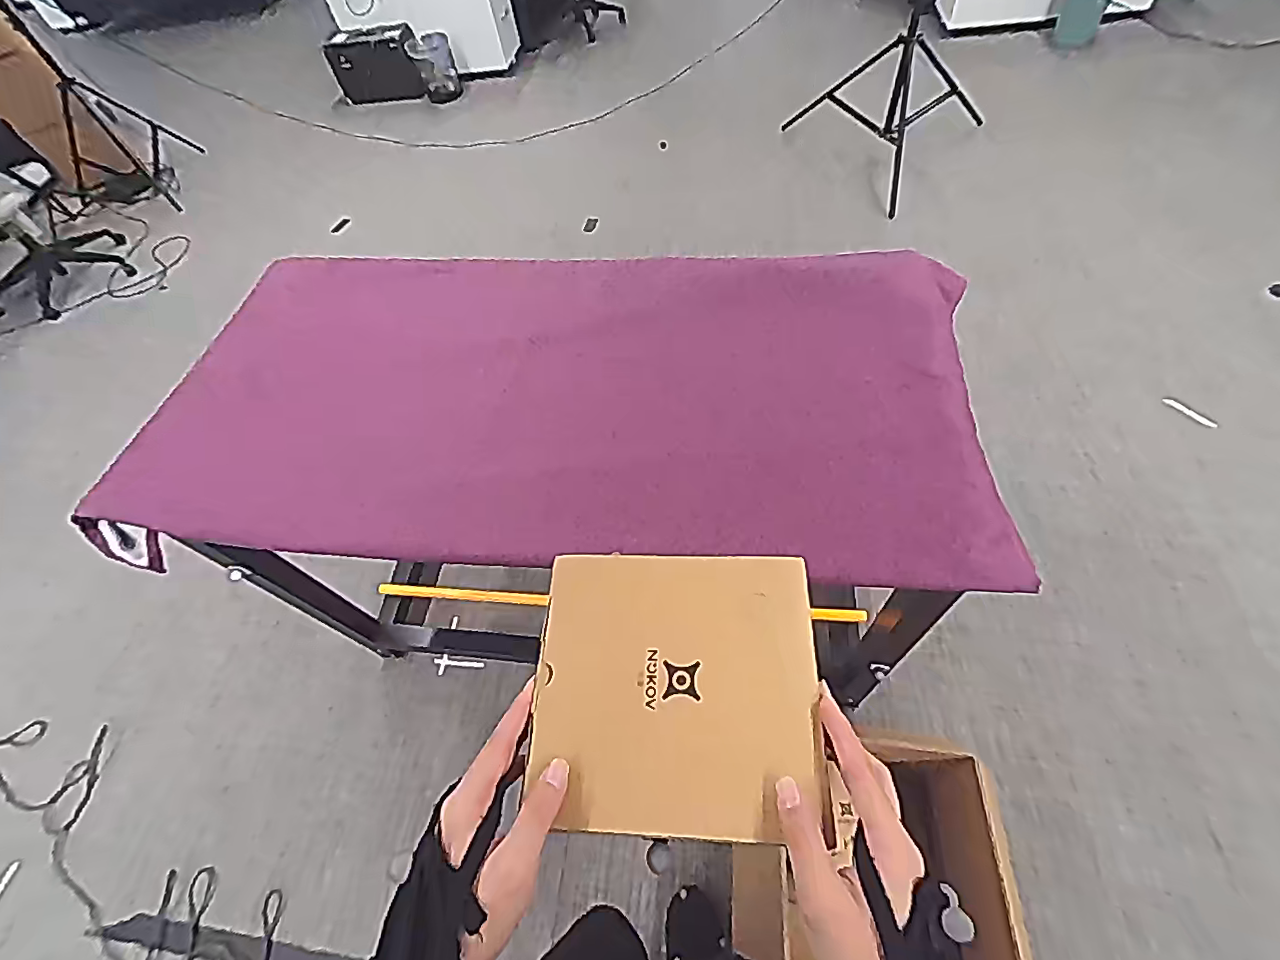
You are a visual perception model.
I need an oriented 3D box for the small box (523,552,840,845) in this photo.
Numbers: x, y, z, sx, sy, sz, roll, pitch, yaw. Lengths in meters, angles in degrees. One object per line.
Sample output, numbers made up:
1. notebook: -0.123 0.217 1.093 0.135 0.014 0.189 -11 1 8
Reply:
1. small box: 0.032 0.163 0.402 0.179 0.176 0.168 -1 58 7
